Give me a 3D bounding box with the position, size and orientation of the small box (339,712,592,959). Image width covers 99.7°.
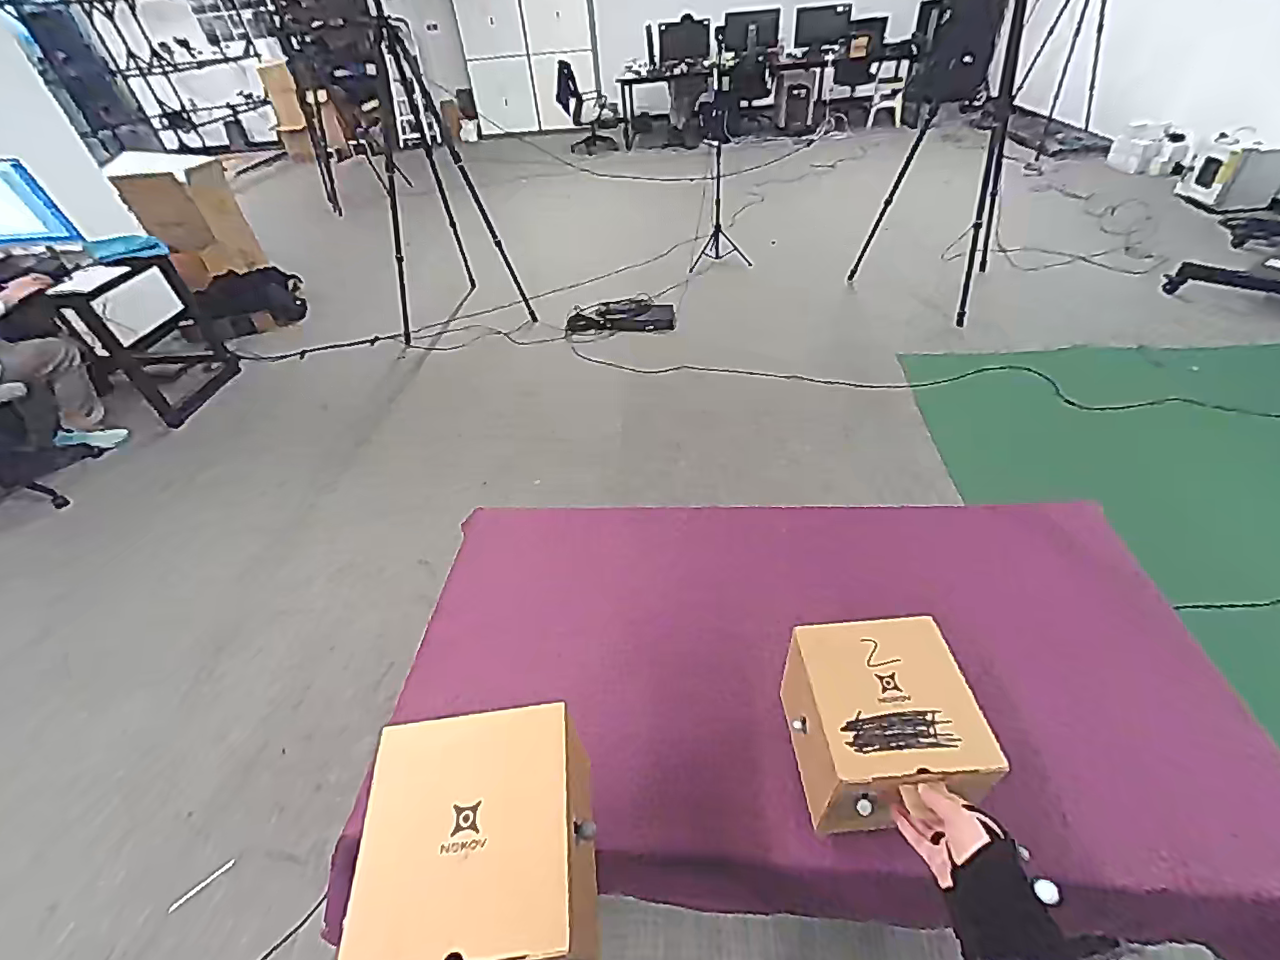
[{"bbox_3d":[-0.136,0.337,0.492,0.168,0.176,0.179,-7,48,-2],"label":"small box"}]
